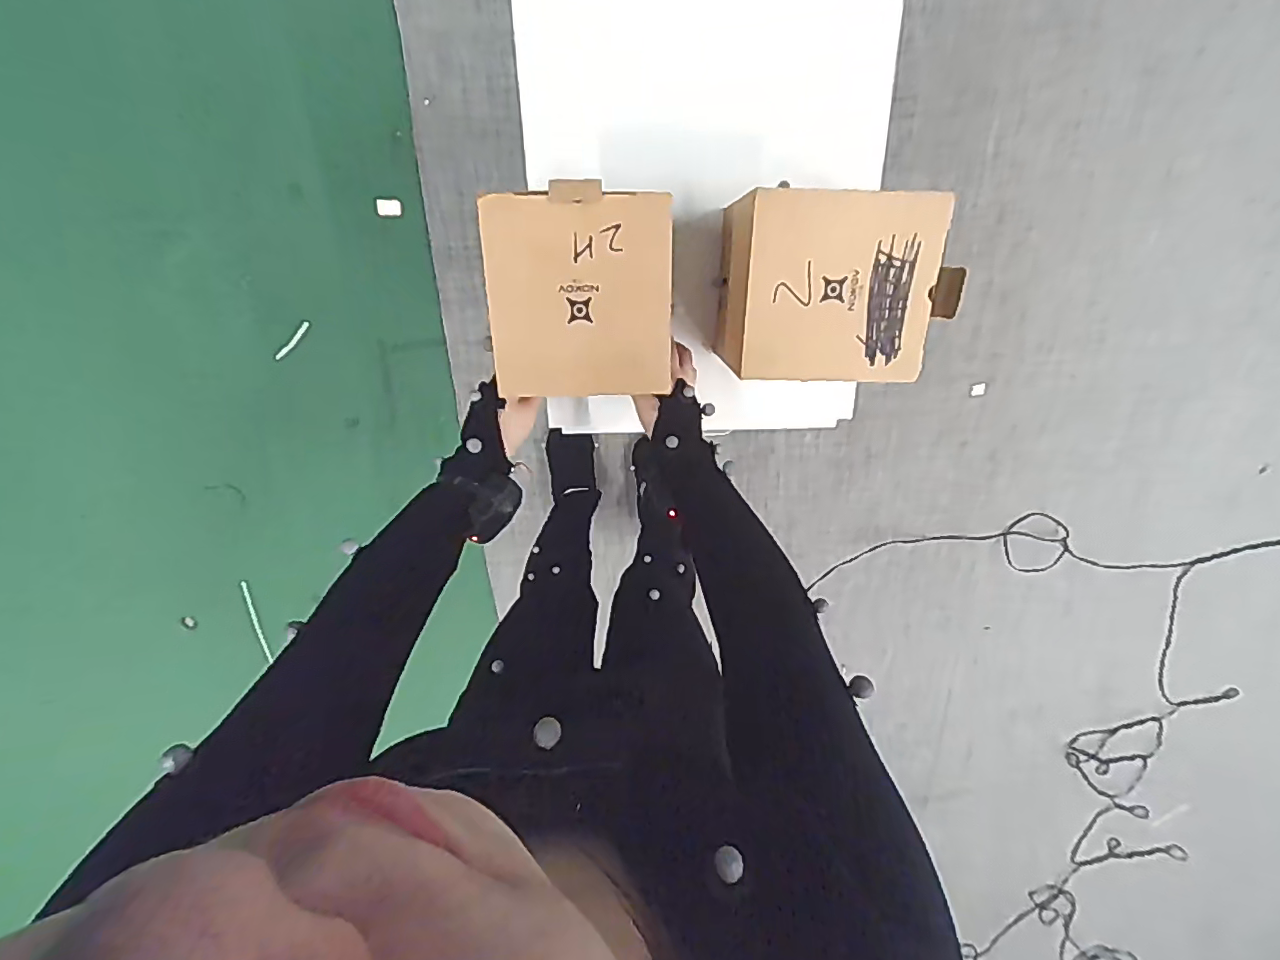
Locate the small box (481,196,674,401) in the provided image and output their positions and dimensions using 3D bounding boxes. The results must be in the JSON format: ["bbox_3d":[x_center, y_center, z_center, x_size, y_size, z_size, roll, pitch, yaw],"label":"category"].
[{"bbox_3d":[-0.057,-0.187,0.560,0.168,0.176,0.179,-2,111,-3],"label":"small box"}]
